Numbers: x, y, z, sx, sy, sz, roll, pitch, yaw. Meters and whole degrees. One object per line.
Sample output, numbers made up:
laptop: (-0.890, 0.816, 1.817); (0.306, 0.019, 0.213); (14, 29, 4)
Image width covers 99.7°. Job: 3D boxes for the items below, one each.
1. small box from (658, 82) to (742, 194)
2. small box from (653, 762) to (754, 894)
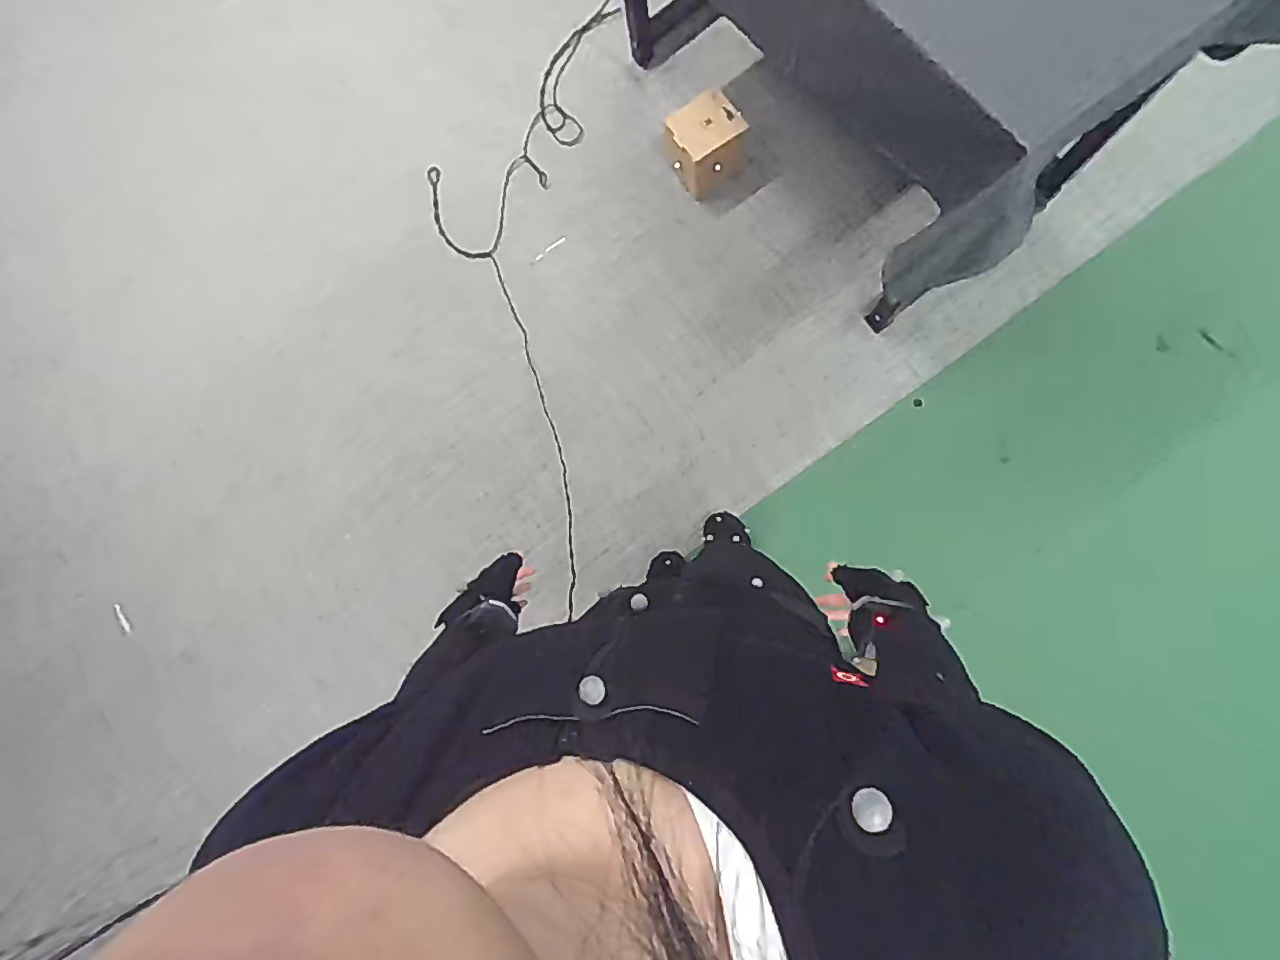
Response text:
small box: (0.172, -0.958, 1.533); (0.179, 0.176, 0.168); (-32, 80, 2)
small box: (0.154, 0.836, 1.320); (0.168, 0.176, 0.179); (-42, 81, 0)
